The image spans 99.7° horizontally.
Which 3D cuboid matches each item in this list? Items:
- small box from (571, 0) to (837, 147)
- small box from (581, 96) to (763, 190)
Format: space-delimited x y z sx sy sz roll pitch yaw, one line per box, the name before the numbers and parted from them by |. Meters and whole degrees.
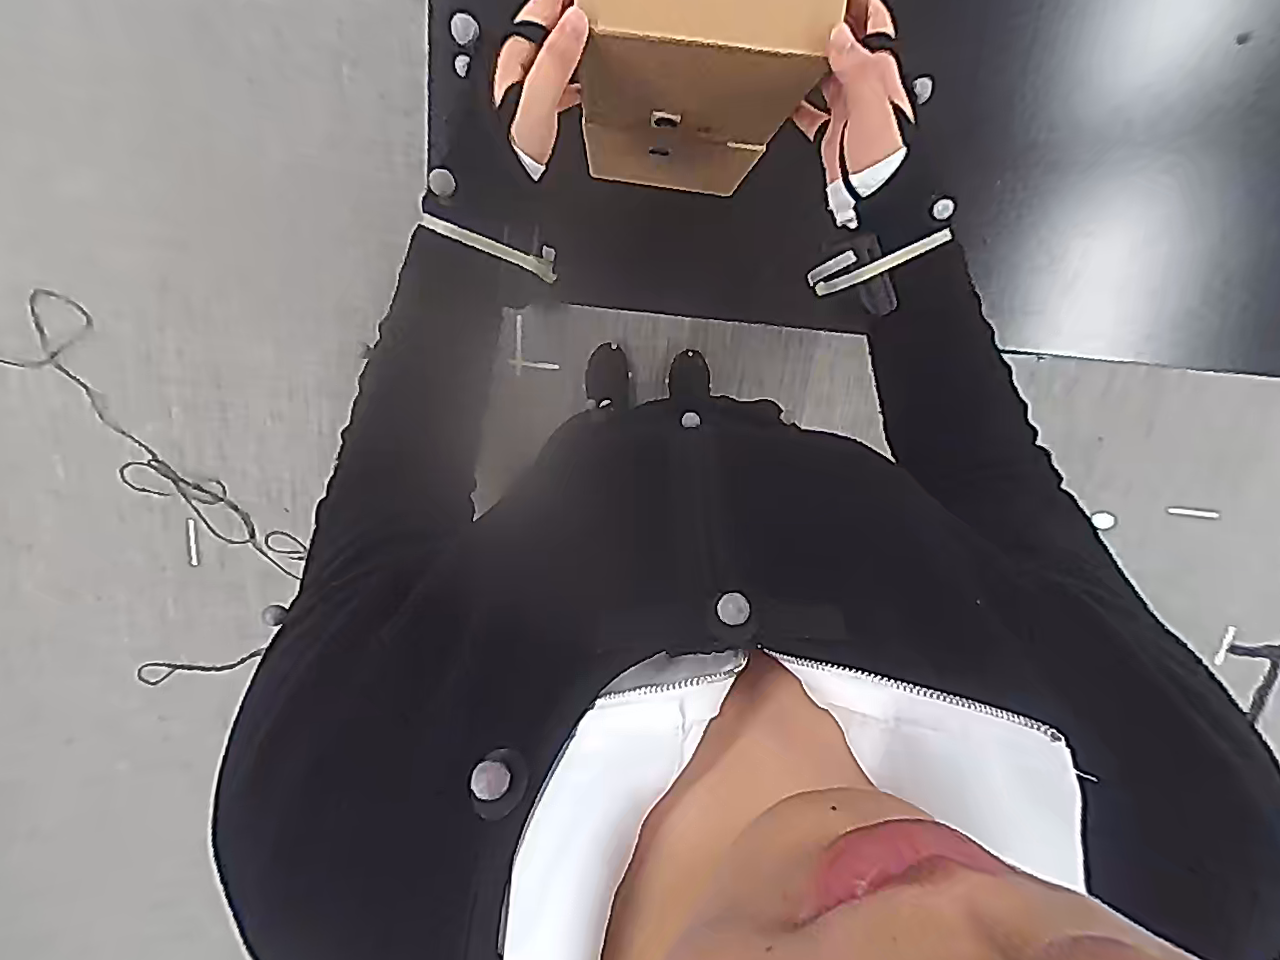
small box | 0.040 -0.375 0.390 0.168 0.176 0.179 4 103 -4
small box | 0.036 -0.424 0.570 0.179 0.176 0.168 6 104 -4
